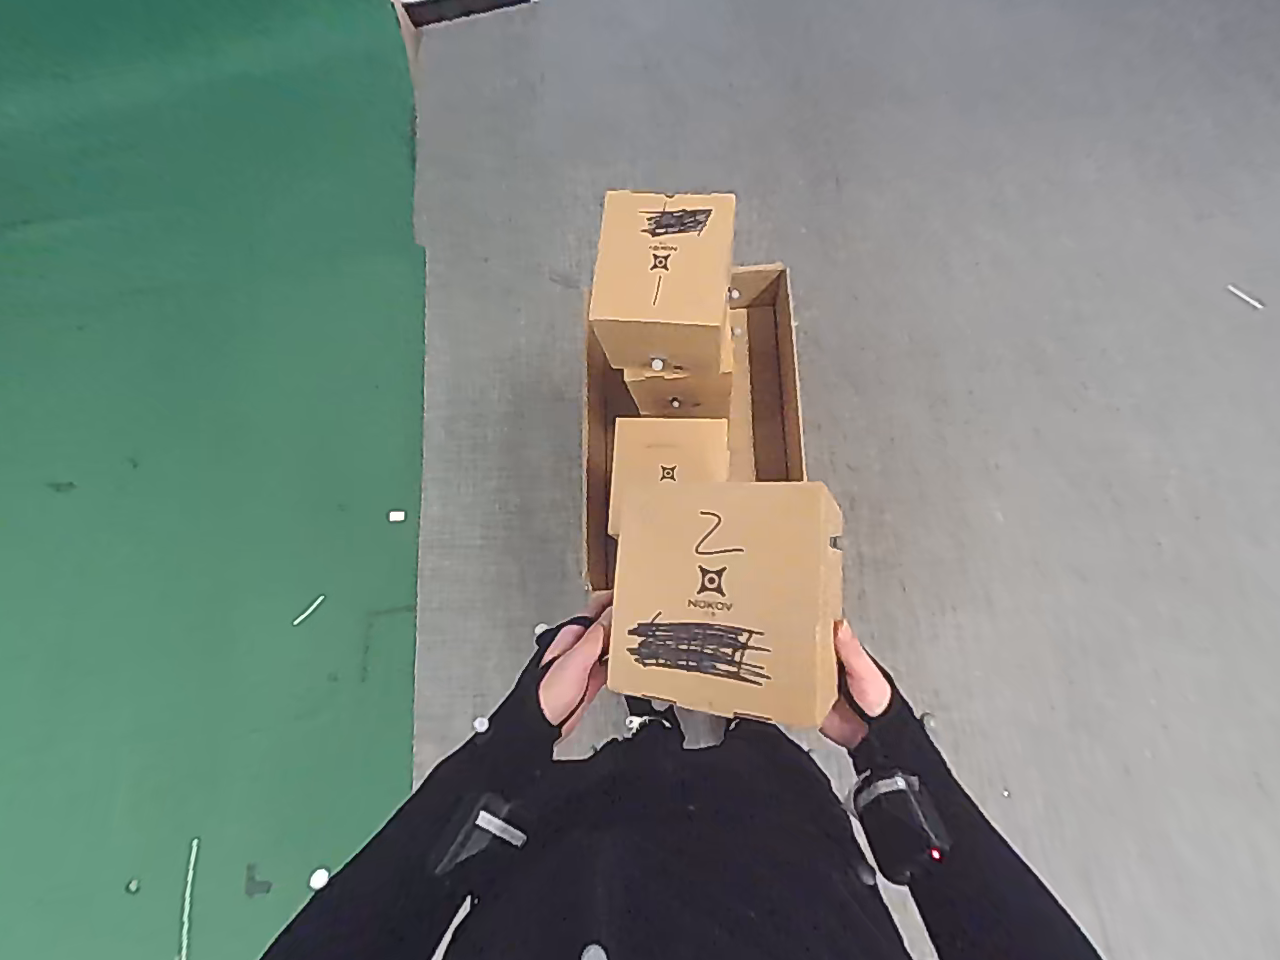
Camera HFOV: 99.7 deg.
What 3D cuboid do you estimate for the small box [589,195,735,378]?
[{"bbox_3d":[0.037,-0.258,0.745,0.168,0.176,0.179,6,81,9],"label":"small box"}]

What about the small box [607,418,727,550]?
[{"bbox_3d":[0.051,0.014,0.849,0.168,0.176,0.179,2,77,8],"label":"small box"}]

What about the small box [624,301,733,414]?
[{"bbox_3d":[0.064,-0.222,0.904,0.168,0.176,0.179,-4,79,7],"label":"small box"}]

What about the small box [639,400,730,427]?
[{"bbox_3d":[0.087,-0.193,1.061,0.168,0.176,0.179,-4,79,8],"label":"small box"}]
